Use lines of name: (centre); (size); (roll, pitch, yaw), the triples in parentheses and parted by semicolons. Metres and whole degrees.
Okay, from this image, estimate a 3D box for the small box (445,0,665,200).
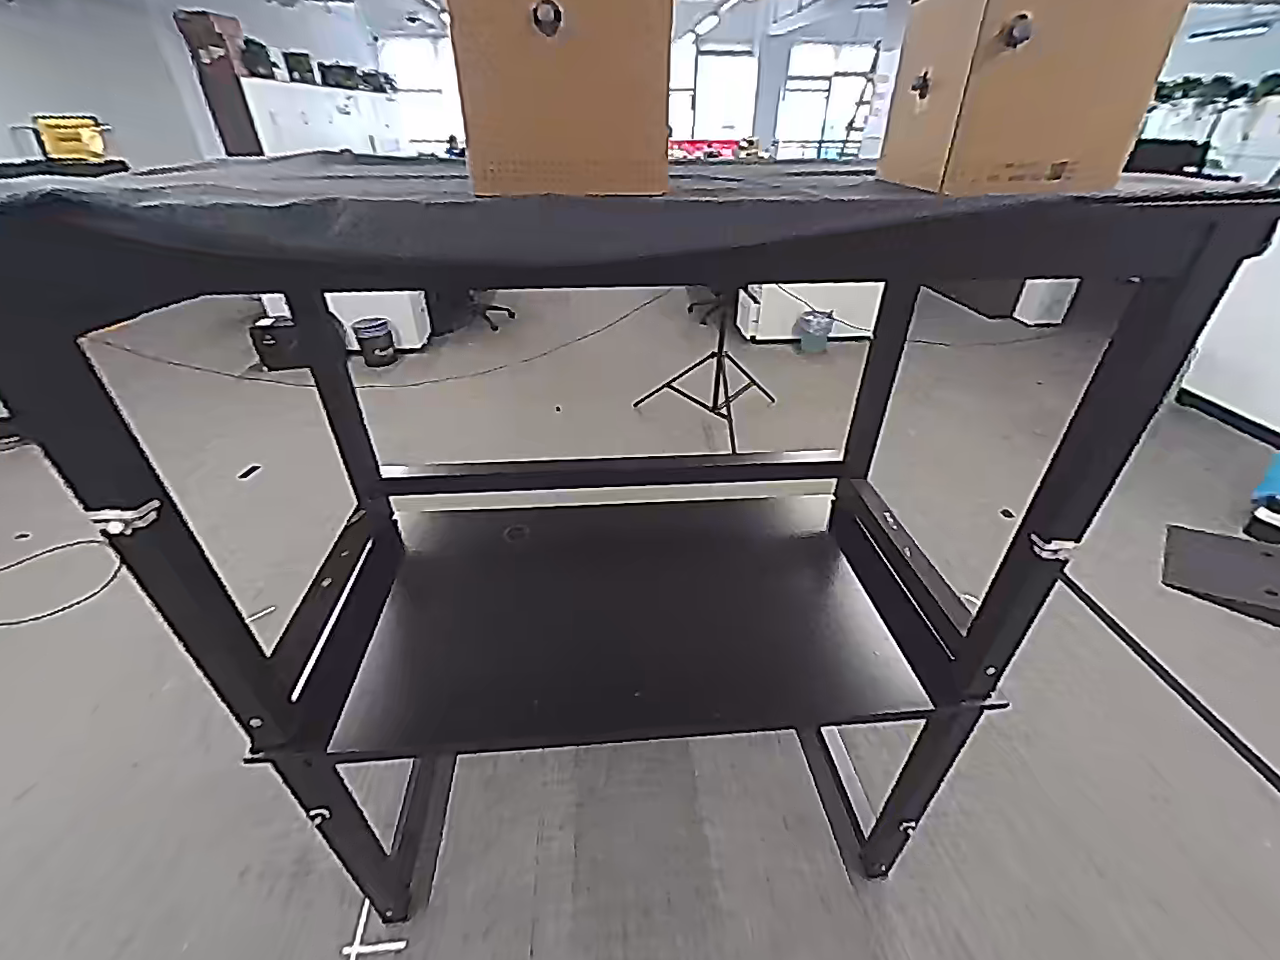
small box: (-0.073, -0.363, 0.509); (0.179, 0.176, 0.168); (-4, 32, -7)
